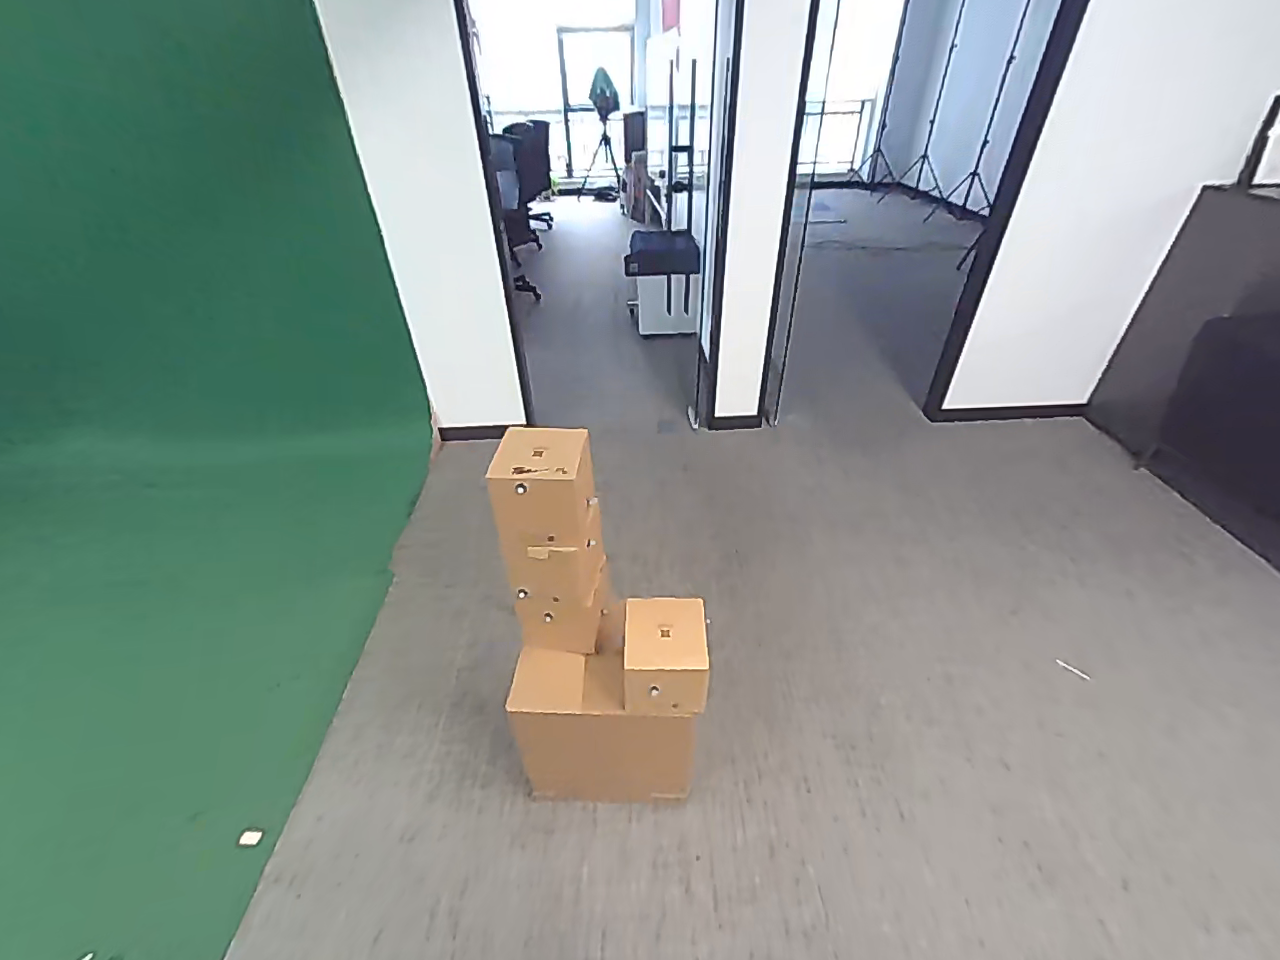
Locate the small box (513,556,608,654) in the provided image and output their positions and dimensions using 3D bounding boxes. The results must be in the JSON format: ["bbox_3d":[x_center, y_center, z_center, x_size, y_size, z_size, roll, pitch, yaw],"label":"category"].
[{"bbox_3d":[-0.177,0.287,1.269,0.179,0.176,0.168,5,37,7],"label":"small box"}]

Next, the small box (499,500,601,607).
[{"bbox_3d":[-0.184,0.153,1.173,0.168,0.176,0.179,5,36,9],"label":"small box"}]

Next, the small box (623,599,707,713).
[{"bbox_3d":[0.052,0.374,1.145,0.168,0.176,0.179,0,37,1],"label":"small box"}]

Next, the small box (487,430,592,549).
[{"bbox_3d":[-0.190,0.016,1.081,0.168,0.176,0.179,0,36,4],"label":"small box"}]
